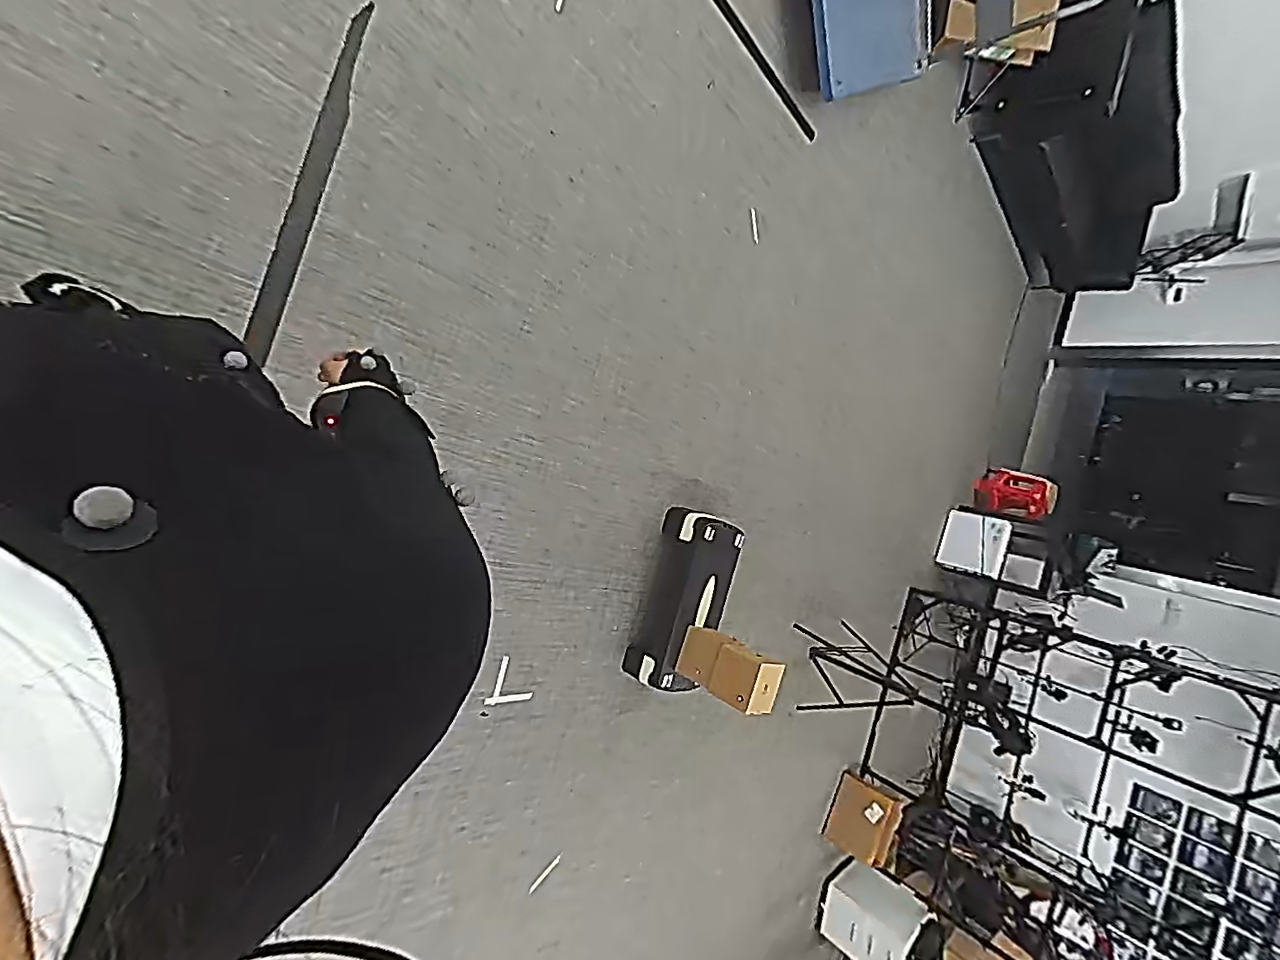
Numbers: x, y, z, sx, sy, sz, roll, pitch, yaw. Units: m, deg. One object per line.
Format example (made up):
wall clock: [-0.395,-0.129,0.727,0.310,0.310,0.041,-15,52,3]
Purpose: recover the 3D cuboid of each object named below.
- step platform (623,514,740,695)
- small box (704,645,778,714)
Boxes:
step platform: [0.174,0.487,2.130,0.286,0.204,0.684,18,86,-45]
small box: [0.347,0.685,1.871,0.168,0.176,0.179,23,84,-44]
